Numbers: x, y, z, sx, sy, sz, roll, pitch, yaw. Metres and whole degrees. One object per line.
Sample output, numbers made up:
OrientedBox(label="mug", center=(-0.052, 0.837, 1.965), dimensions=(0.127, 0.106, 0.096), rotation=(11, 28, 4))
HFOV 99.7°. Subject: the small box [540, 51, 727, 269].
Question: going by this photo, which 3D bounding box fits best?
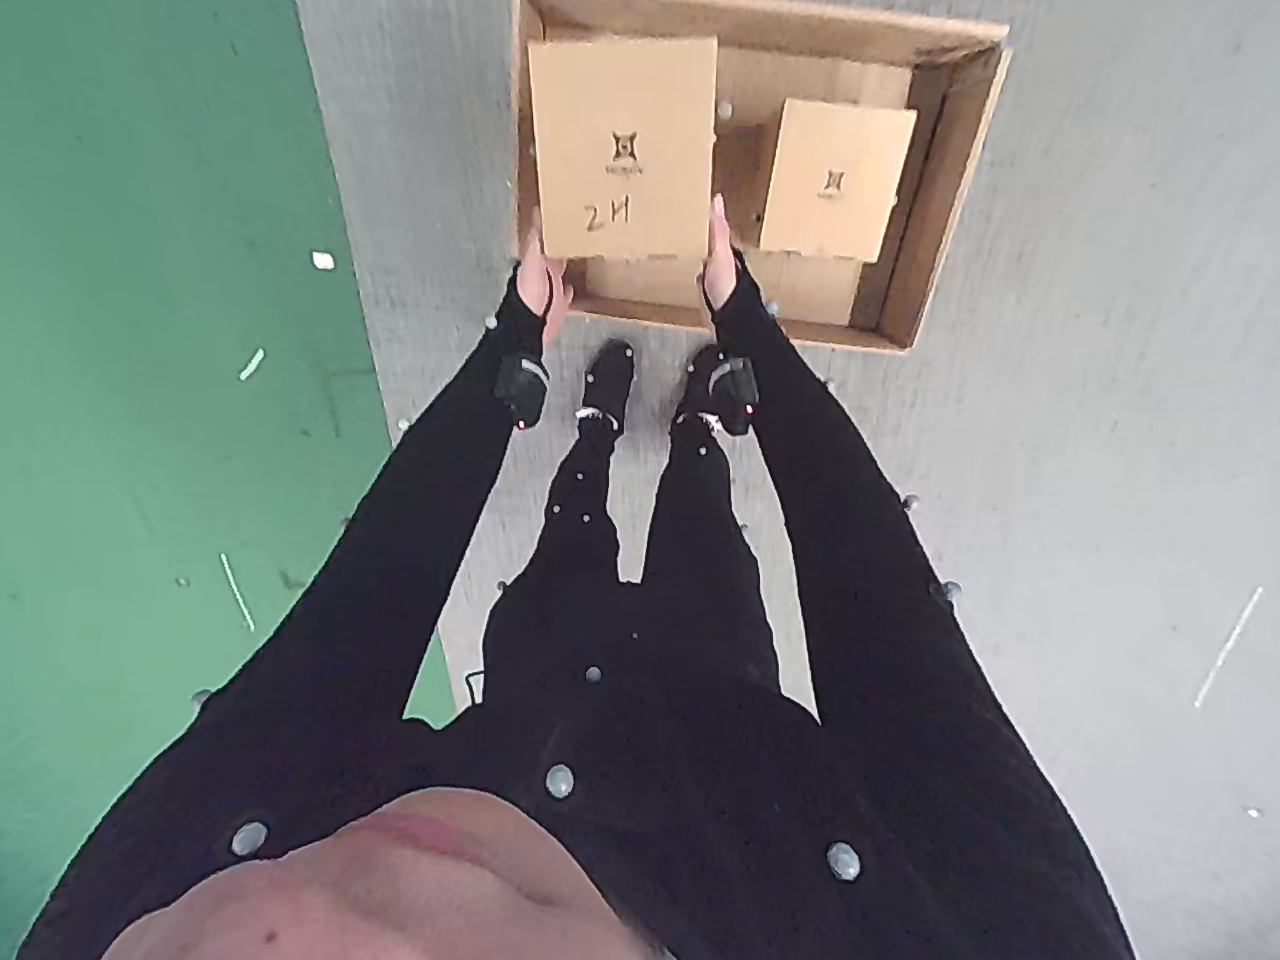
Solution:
OrientedBox(label="small box", center=(-0.005, -0.325, 0.572), dimensions=(0.168, 0.176, 0.179), rotation=(1, 118, 3))
